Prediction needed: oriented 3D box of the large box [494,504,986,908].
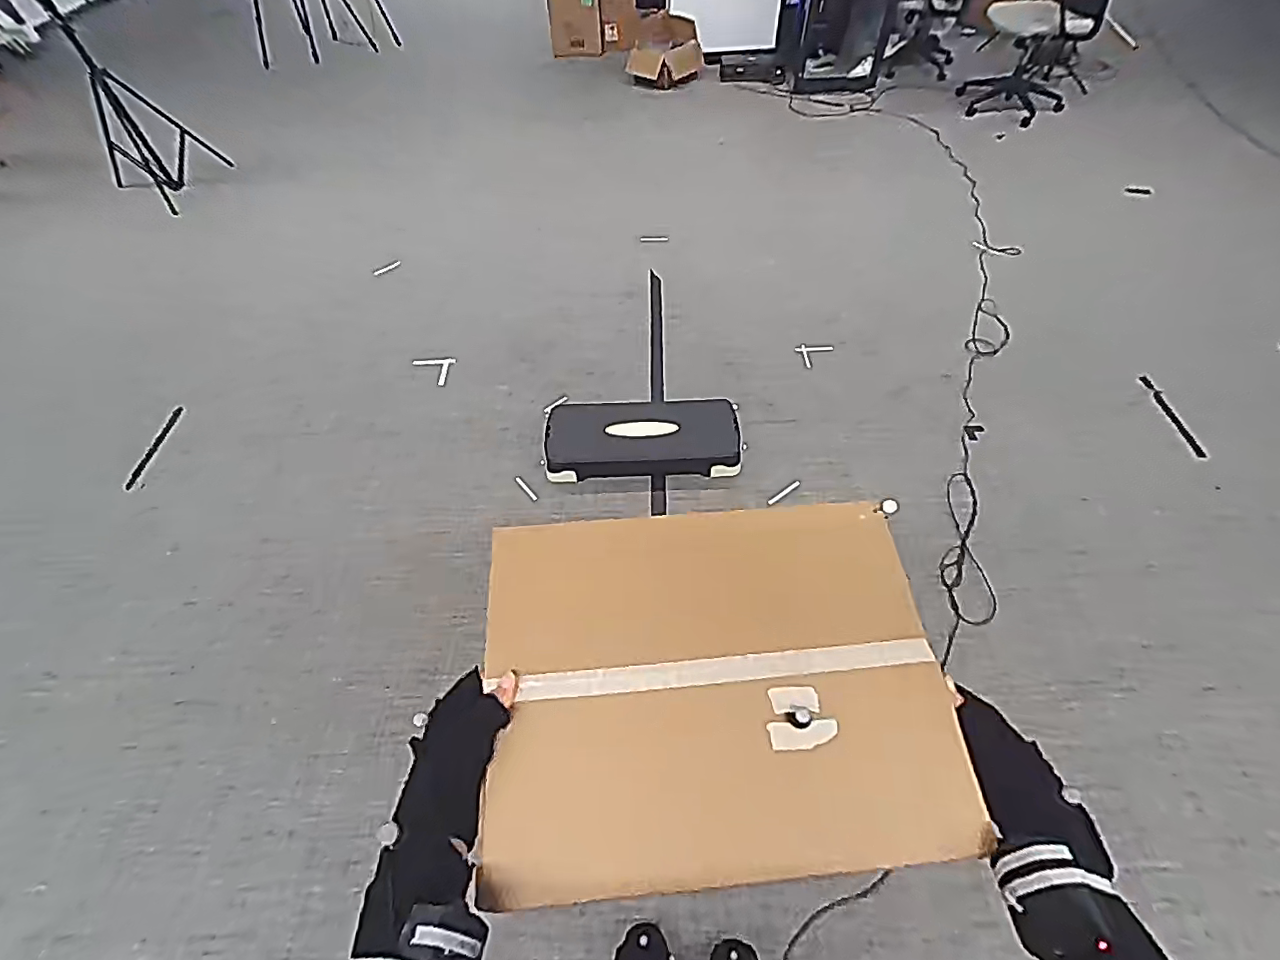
[{"bbox_3d":[0.064,0.248,0.622,0.408,0.320,0.320,-4,61,-4],"label":"large box"}]
